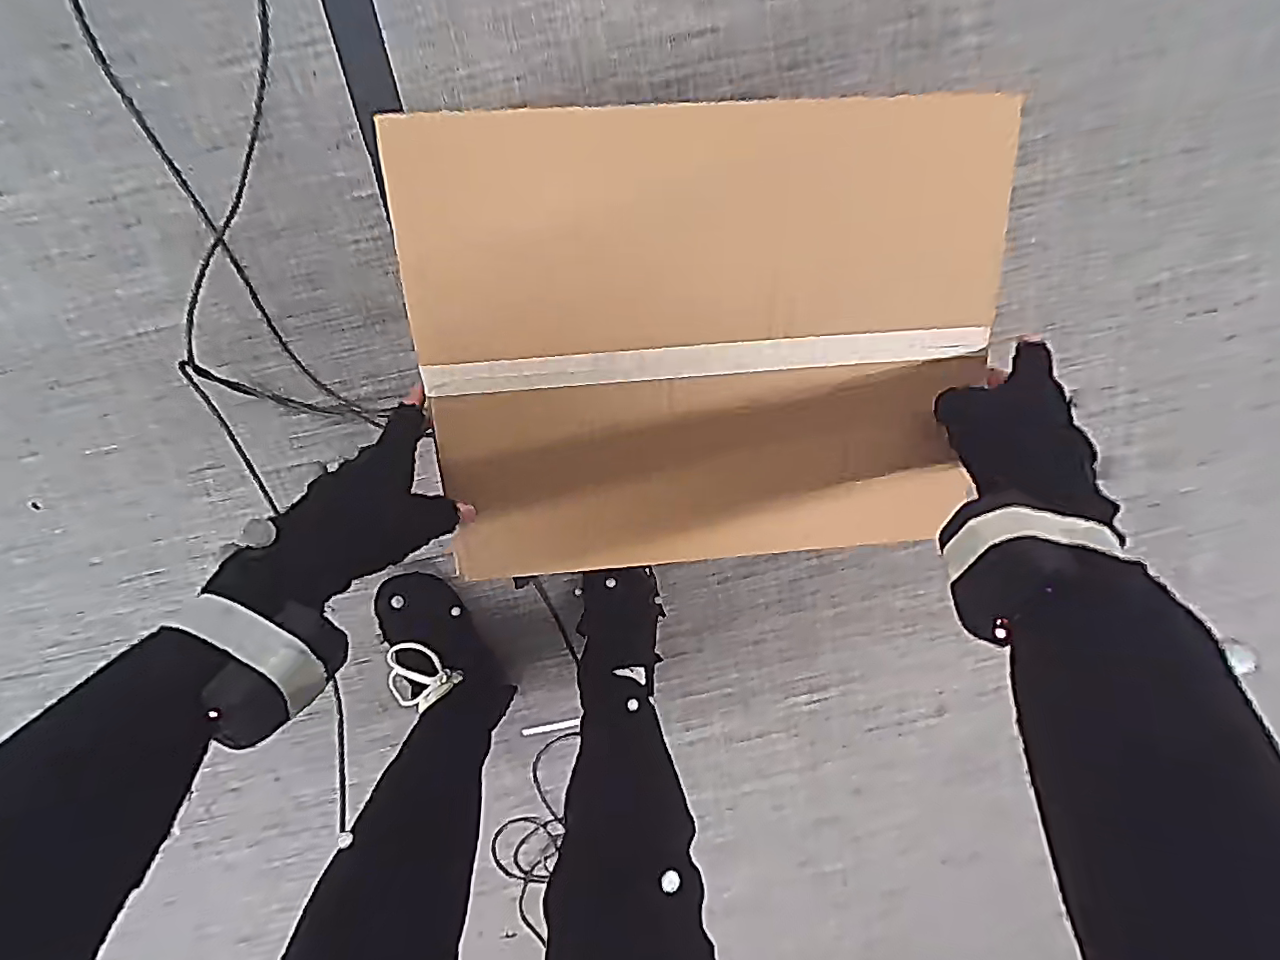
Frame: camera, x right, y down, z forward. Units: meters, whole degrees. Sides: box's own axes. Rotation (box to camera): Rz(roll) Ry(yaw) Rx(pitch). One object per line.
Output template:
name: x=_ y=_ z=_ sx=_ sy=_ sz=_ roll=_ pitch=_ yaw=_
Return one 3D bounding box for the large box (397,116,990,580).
large box: x=0.037 y=-0.127 z=0.540 sx=0.408 sy=0.320 sz=0.320 roll=-5 pitch=109 yaw=-4
